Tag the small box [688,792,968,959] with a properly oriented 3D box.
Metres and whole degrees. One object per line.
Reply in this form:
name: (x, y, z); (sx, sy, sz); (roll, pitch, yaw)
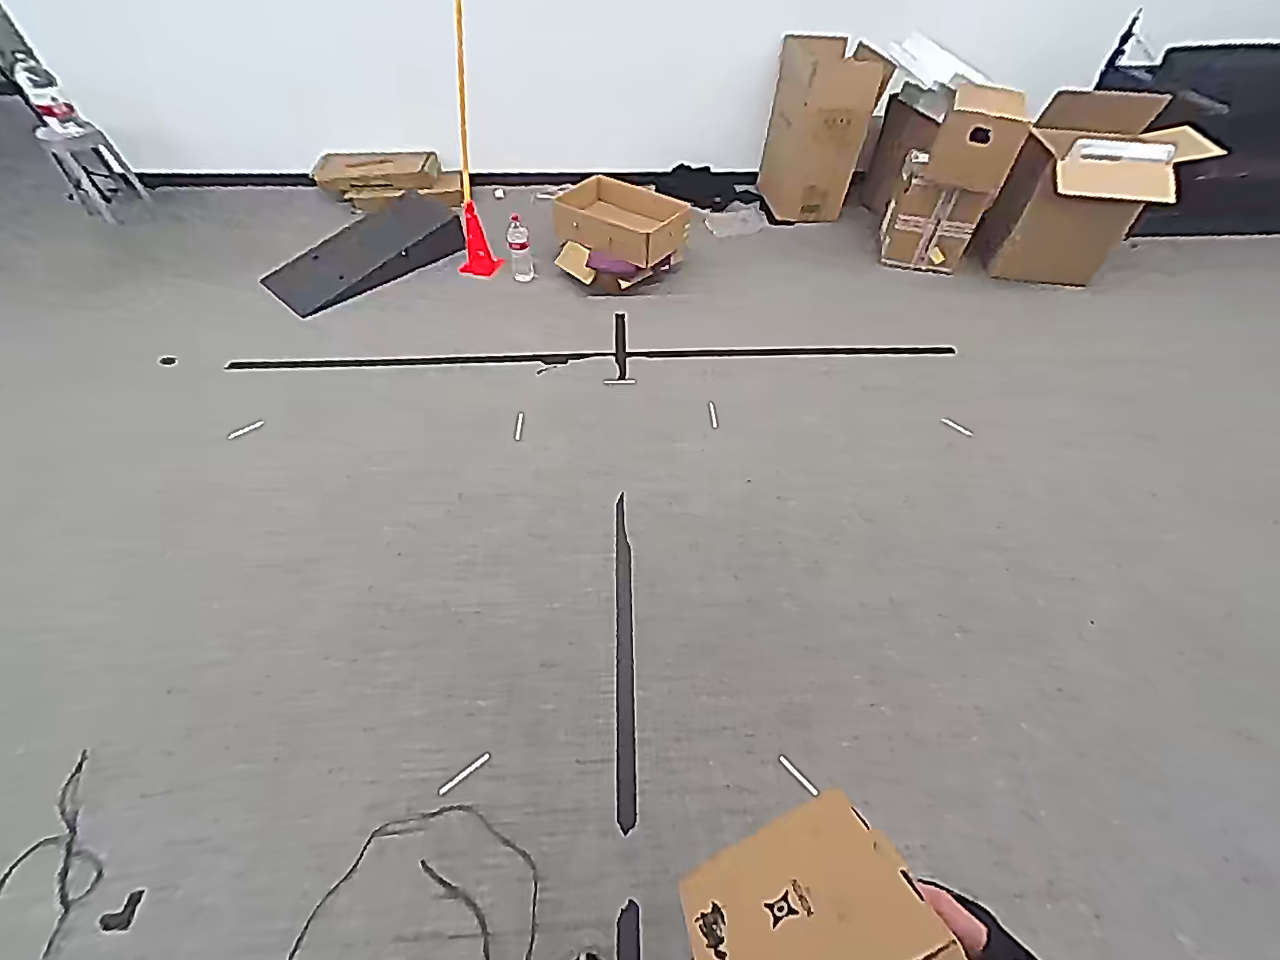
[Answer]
small box: (0.164, 0.414, 0.444); (0.179, 0.168, 0.176); (-27, 94, -4)
